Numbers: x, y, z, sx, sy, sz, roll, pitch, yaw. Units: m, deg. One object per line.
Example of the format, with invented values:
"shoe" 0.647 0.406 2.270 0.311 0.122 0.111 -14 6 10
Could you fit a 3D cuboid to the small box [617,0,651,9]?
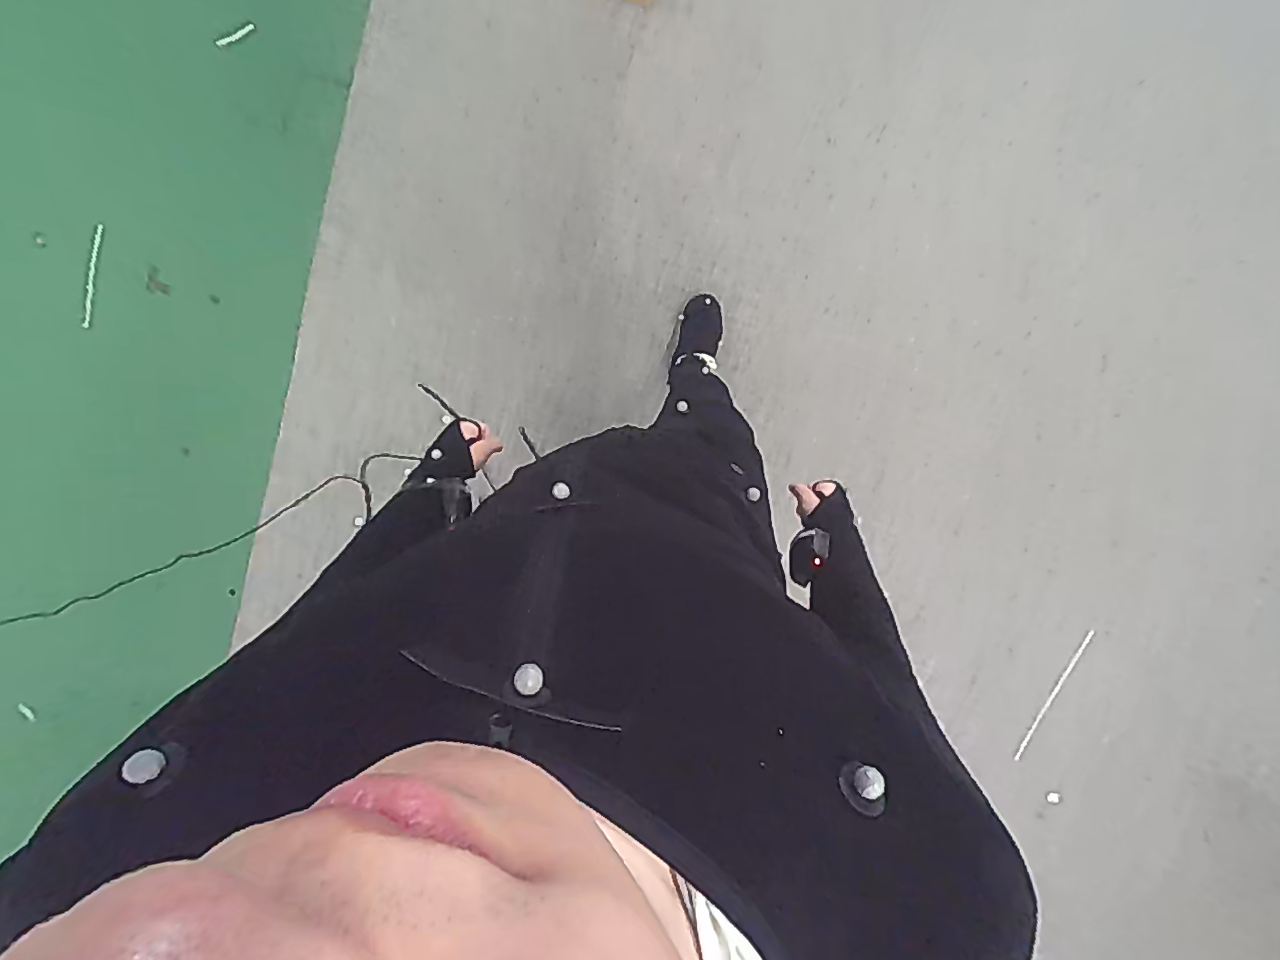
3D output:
"small box" -0.031 -1.267 1.270 0.179 0.176 0.168 24 103 -1
